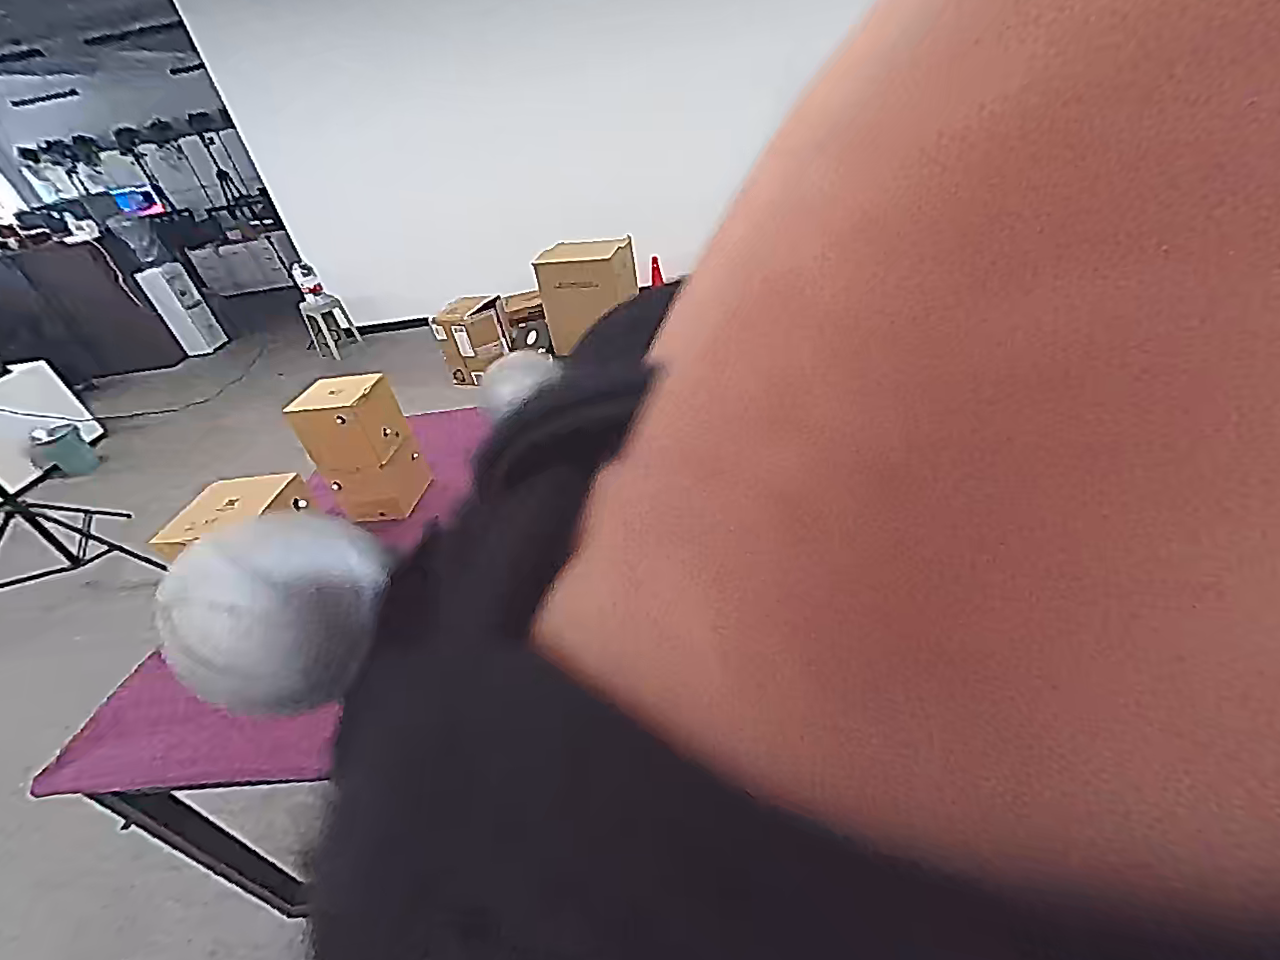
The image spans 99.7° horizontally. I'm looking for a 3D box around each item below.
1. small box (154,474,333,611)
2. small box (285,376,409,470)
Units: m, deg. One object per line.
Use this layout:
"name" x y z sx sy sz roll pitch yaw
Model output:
"small box" -0.691 0.112 0.974 0.168 0.176 0.179 -6 36 5
"small box" -0.701 -0.135 1.314 0.179 0.176 0.168 -4 36 7
